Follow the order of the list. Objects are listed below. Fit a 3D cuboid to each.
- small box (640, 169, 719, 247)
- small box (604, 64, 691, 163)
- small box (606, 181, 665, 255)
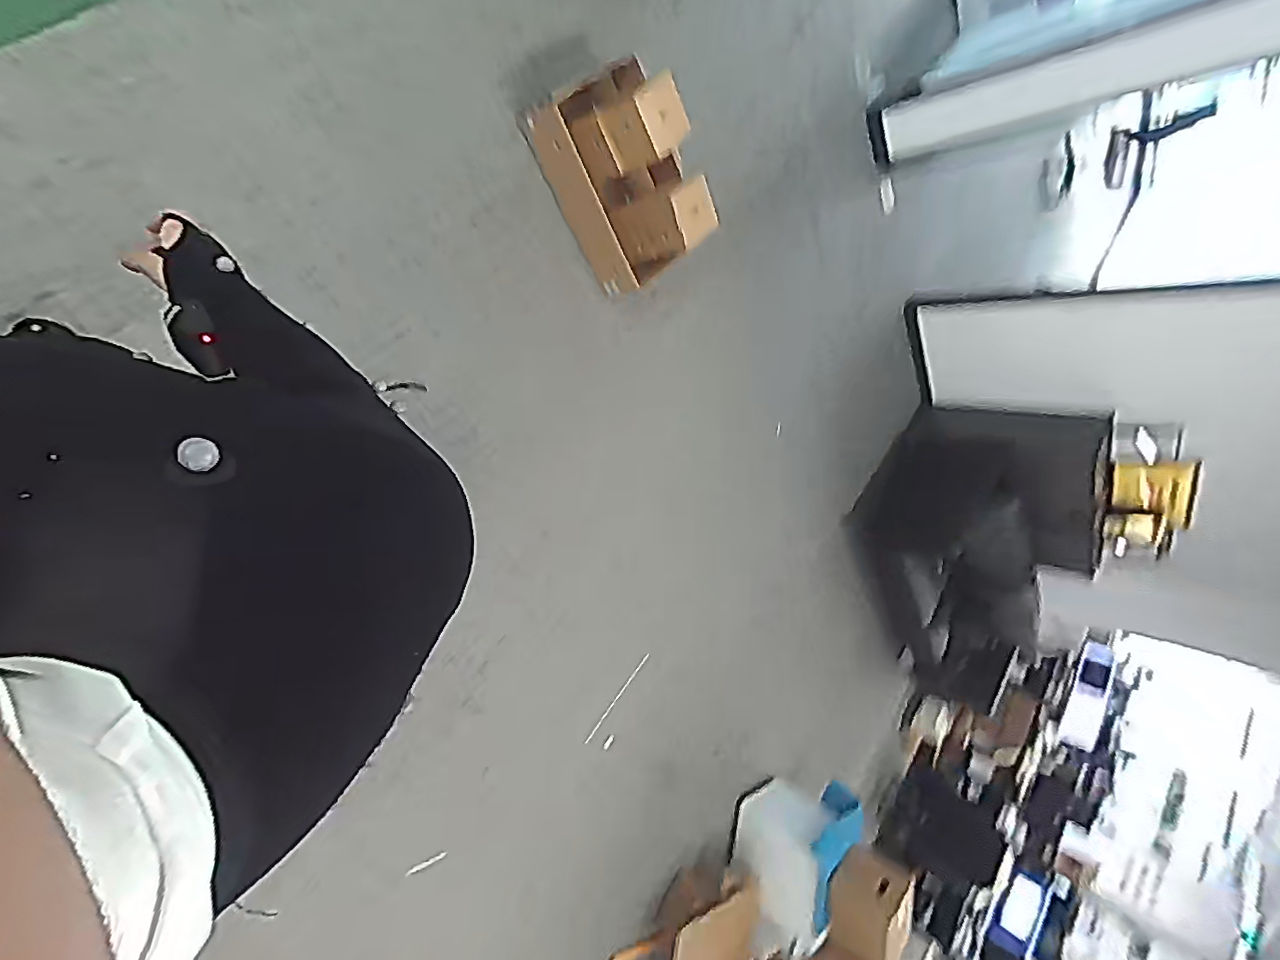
[{"bbox_3d":[0.122,-0.877,1.756,0.179,0.176,0.168,-45,127,-25],"label":"small box"},{"bbox_3d":[0.015,-1.082,1.611,0.179,0.176,0.168,-51,130,-21],"label":"small box"},{"bbox_3d":[0.015,-0.901,1.876,0.168,0.176,0.179,-45,126,-25],"label":"small box"}]
